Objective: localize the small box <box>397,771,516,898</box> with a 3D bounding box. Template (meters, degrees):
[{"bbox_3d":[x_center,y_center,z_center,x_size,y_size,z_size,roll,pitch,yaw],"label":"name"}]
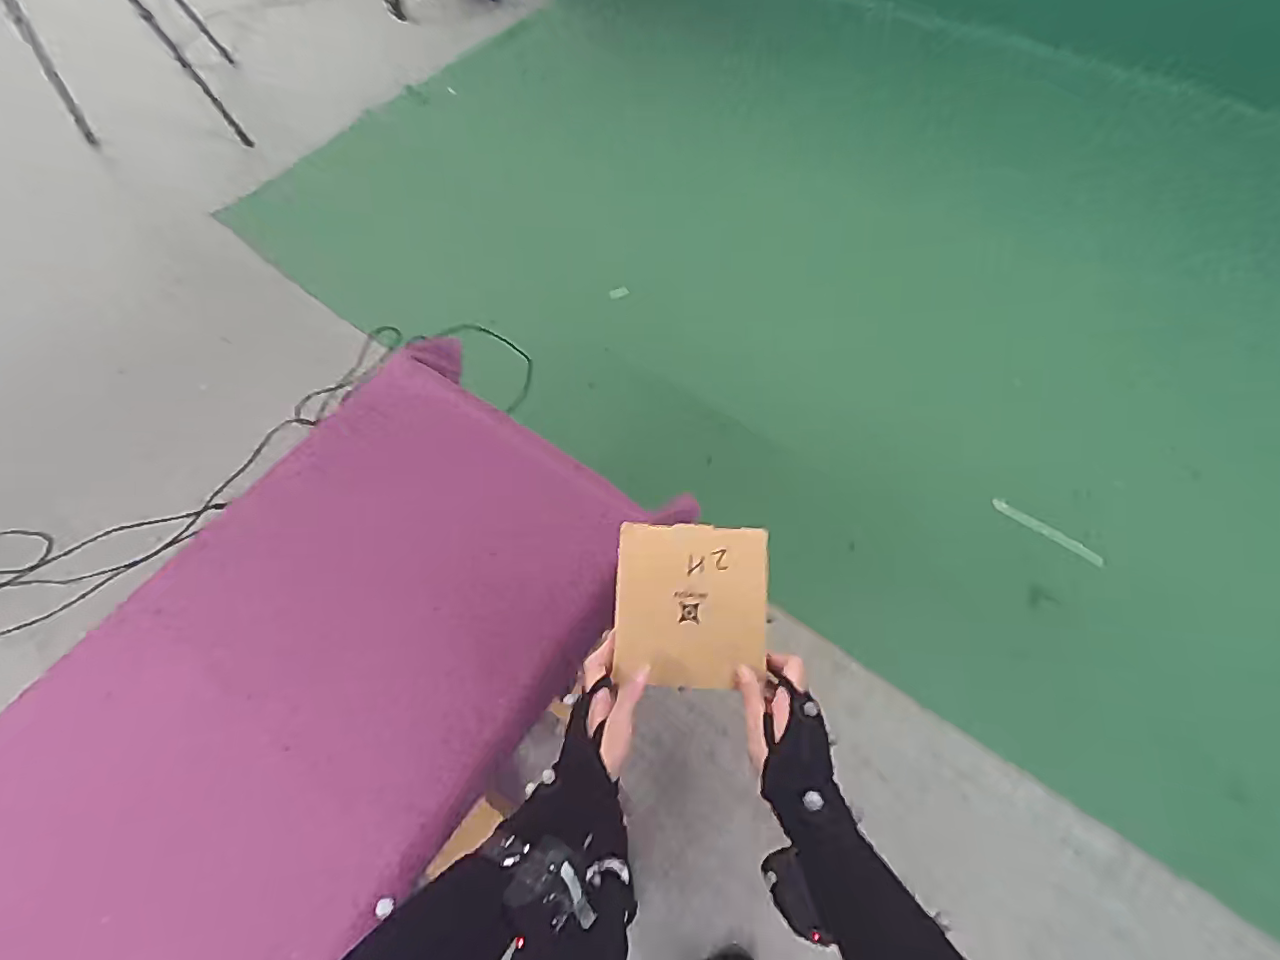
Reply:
[{"bbox_3d":[-0.405,0.793,1.236,0.168,0.176,0.179,32,70,18],"label":"small box"}]

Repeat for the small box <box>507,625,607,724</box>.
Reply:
[{"bbox_3d":[-0.201,0.497,1.371,0.179,0.176,0.168,29,68,17],"label":"small box"}]
